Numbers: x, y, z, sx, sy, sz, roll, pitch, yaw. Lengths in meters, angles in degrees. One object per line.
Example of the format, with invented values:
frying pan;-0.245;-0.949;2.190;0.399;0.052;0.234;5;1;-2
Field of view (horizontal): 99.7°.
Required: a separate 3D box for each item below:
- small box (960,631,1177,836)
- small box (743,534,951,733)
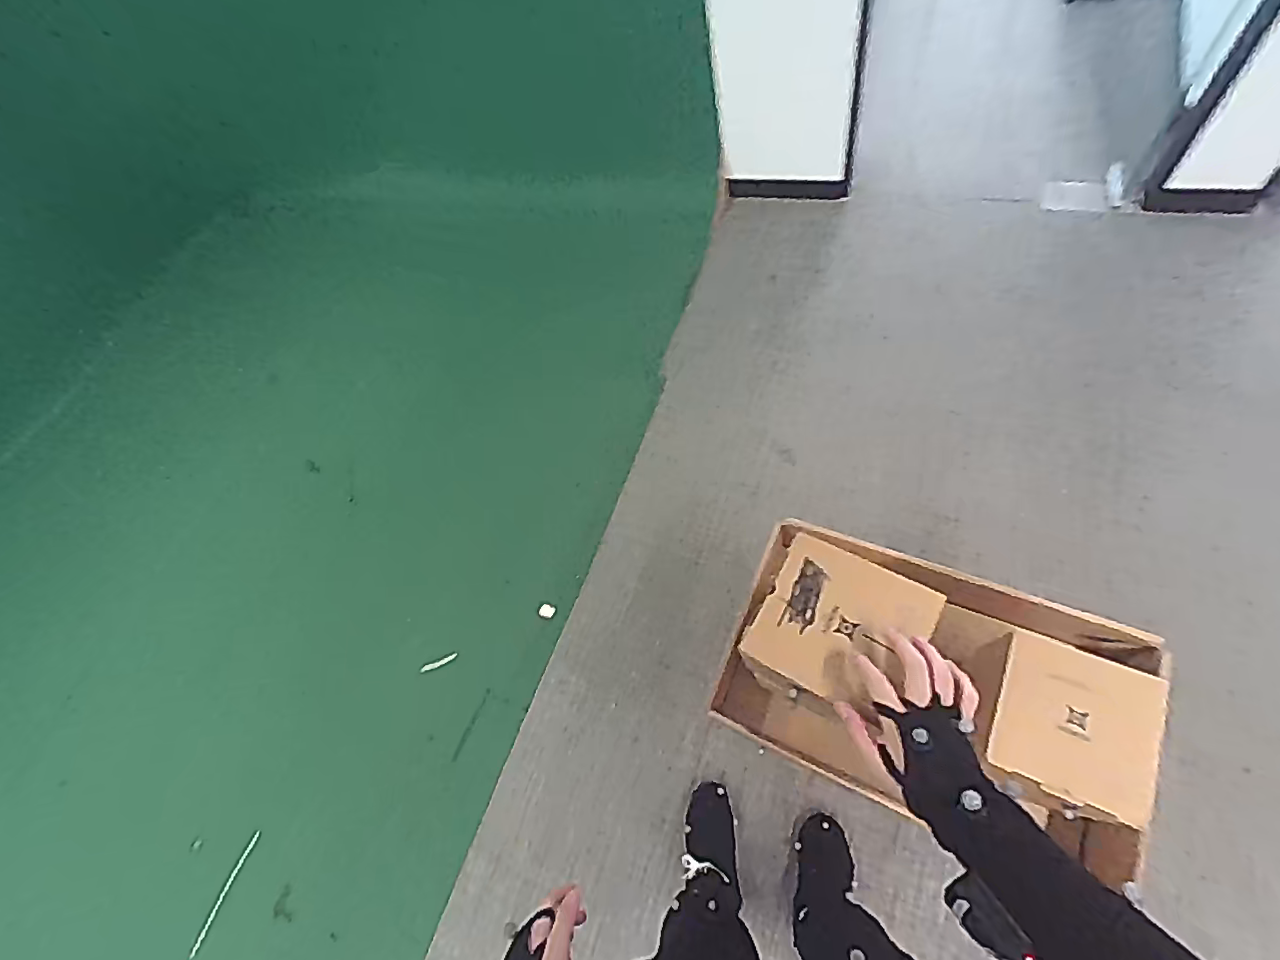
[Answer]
small box;0.549;0.328;0.717;0.168;0.176;0.179;20;71;22
small box;0.249;0.198;0.677;0.179;0.176;0.168;25;74;25
